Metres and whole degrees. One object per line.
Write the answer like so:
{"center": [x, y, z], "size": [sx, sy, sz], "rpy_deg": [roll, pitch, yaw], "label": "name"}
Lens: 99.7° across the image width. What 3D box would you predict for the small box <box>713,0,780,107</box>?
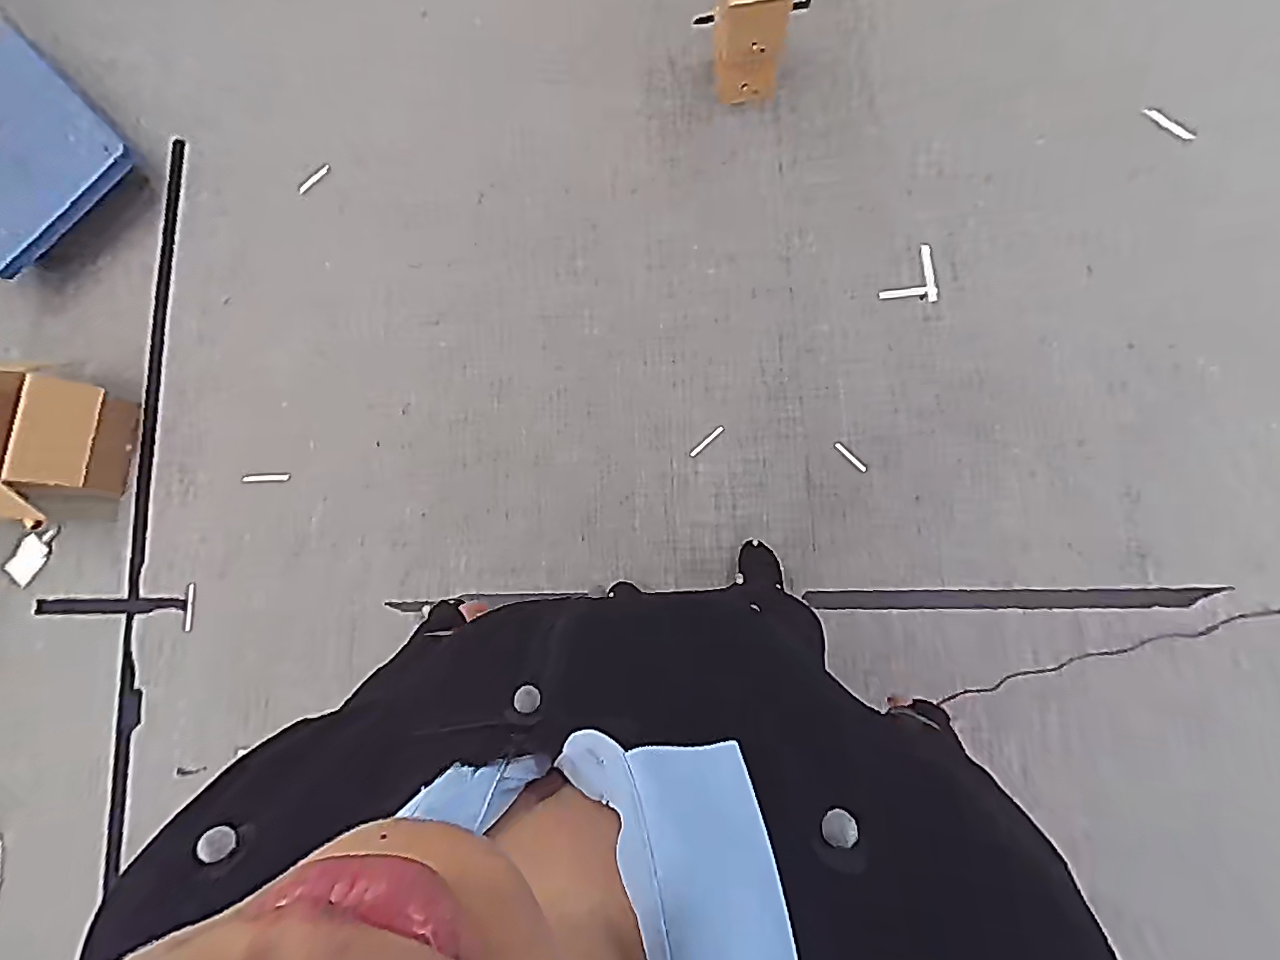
{"center": [0.312, -1.270, 1.617], "size": [0.168, 0.176, 0.179], "rpy_deg": [-8, 81, 5], "label": "small box"}
